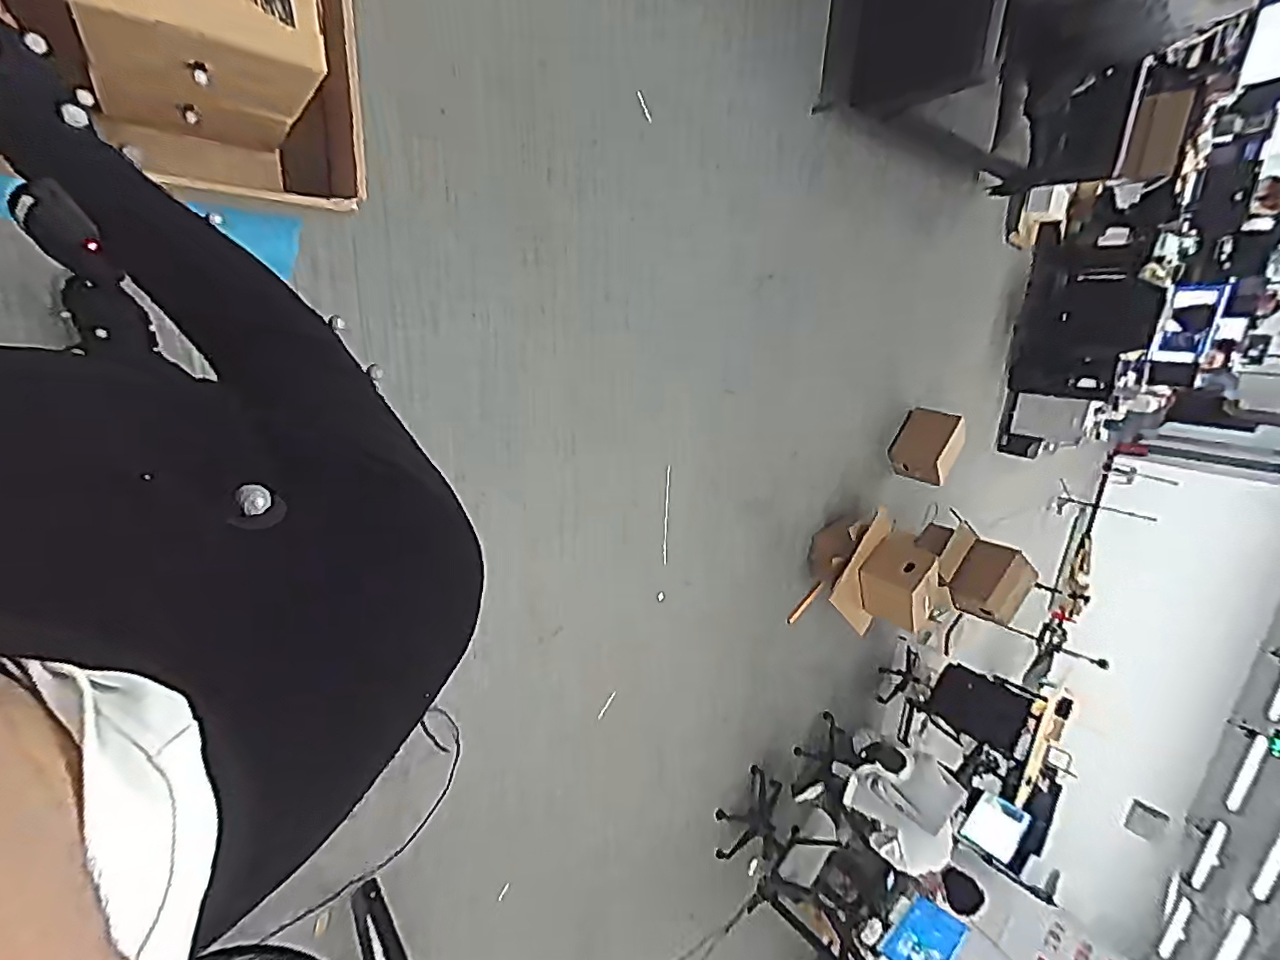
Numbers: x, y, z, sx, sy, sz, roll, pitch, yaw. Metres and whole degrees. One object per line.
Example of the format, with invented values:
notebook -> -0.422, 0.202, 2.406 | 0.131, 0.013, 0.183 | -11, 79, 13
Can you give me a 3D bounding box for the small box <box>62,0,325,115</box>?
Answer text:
small box -> -0.410, -0.463, 0.494 | 0.179, 0.176, 0.168 | -9, 108, -37
